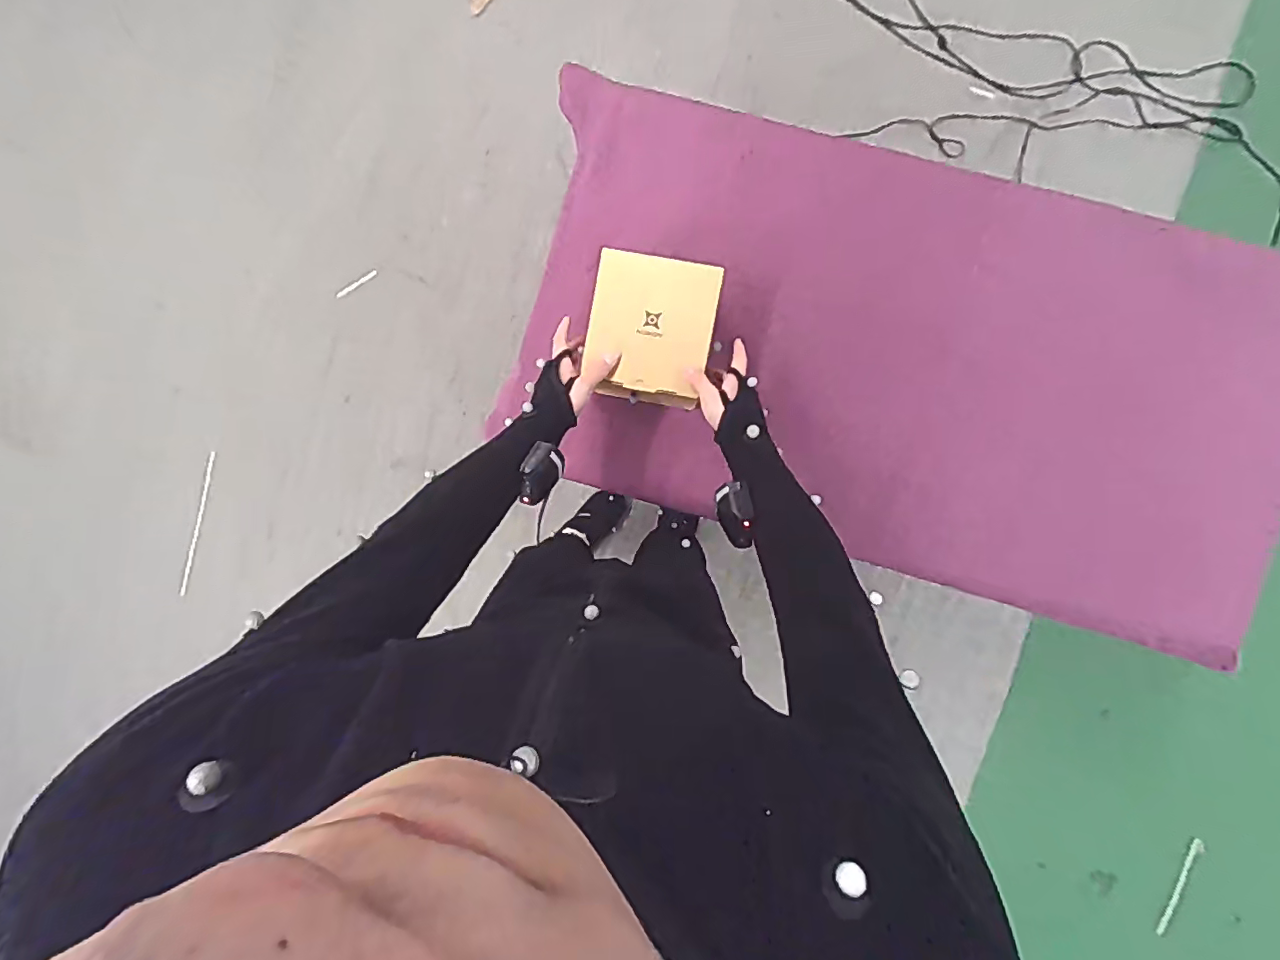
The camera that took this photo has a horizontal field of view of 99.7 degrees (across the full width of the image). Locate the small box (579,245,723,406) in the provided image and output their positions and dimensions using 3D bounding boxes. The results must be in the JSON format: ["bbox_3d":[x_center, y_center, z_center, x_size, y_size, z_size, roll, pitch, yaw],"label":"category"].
[{"bbox_3d":[0.016,-0.212,0.788,0.168,0.176,0.179,10,94,2],"label":"small box"}]
